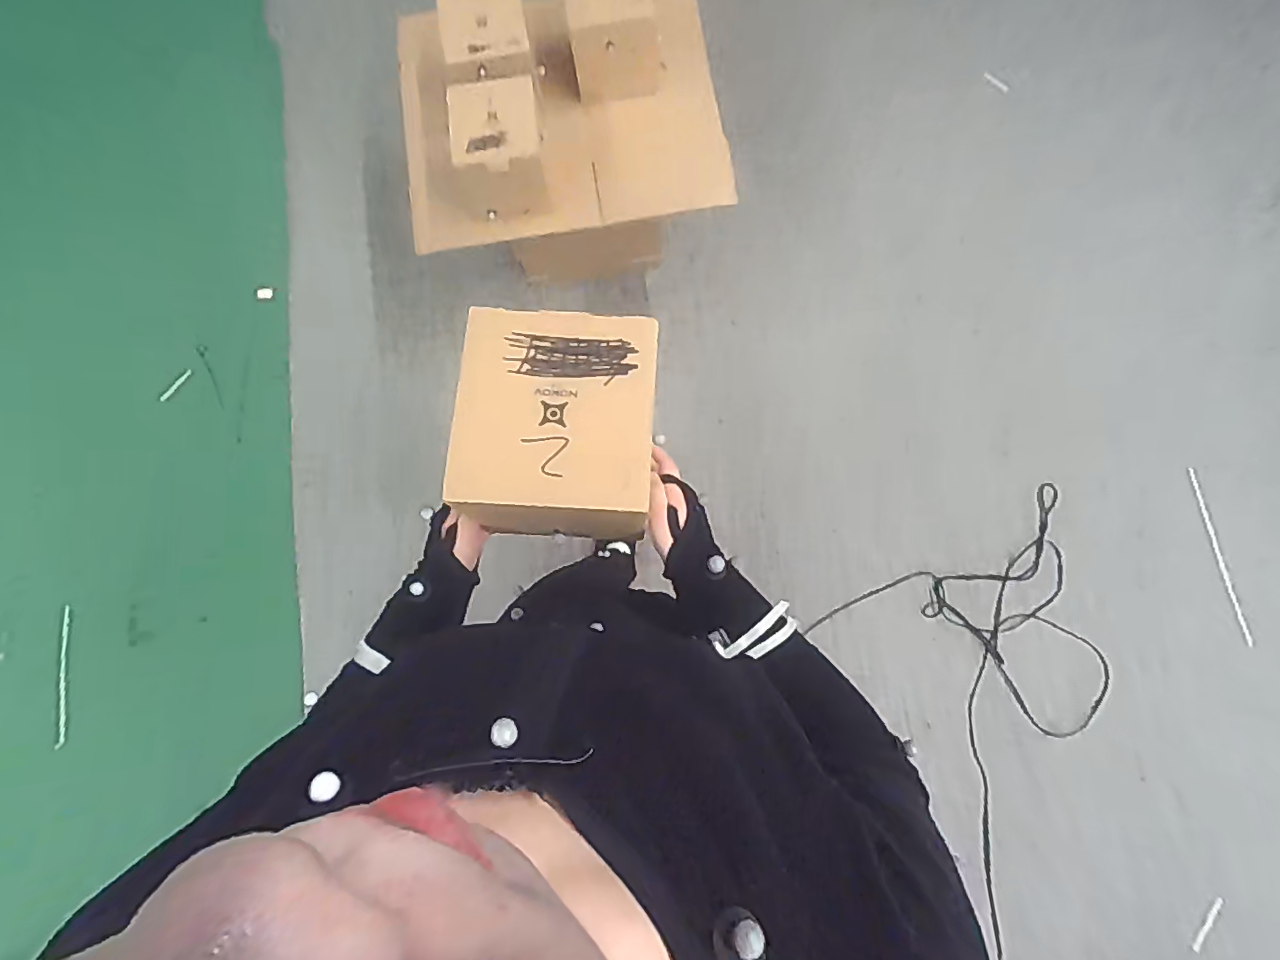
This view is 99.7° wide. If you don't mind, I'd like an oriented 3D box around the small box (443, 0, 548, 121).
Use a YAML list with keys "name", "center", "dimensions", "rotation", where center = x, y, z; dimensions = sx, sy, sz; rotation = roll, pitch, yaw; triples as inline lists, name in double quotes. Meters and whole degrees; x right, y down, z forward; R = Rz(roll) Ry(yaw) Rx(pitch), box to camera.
- name: "small box"
  center: [-0.295, -0.872, 1.127]
  dimensions: [0.168, 0.176, 0.179]
  rotation: [-10, 79, 0]

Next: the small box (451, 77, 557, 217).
- name: "small box"
  center: [-0.267, -0.655, 1.089]
  dimensions: [0.168, 0.176, 0.179]
  rotation: [-7, 80, 0]

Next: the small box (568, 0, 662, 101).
- name: "small box"
  center: [-0.050, -0.936, 1.133]
  dimensions: [0.179, 0.176, 0.168]
  rotation: [-6, 80, 2]
